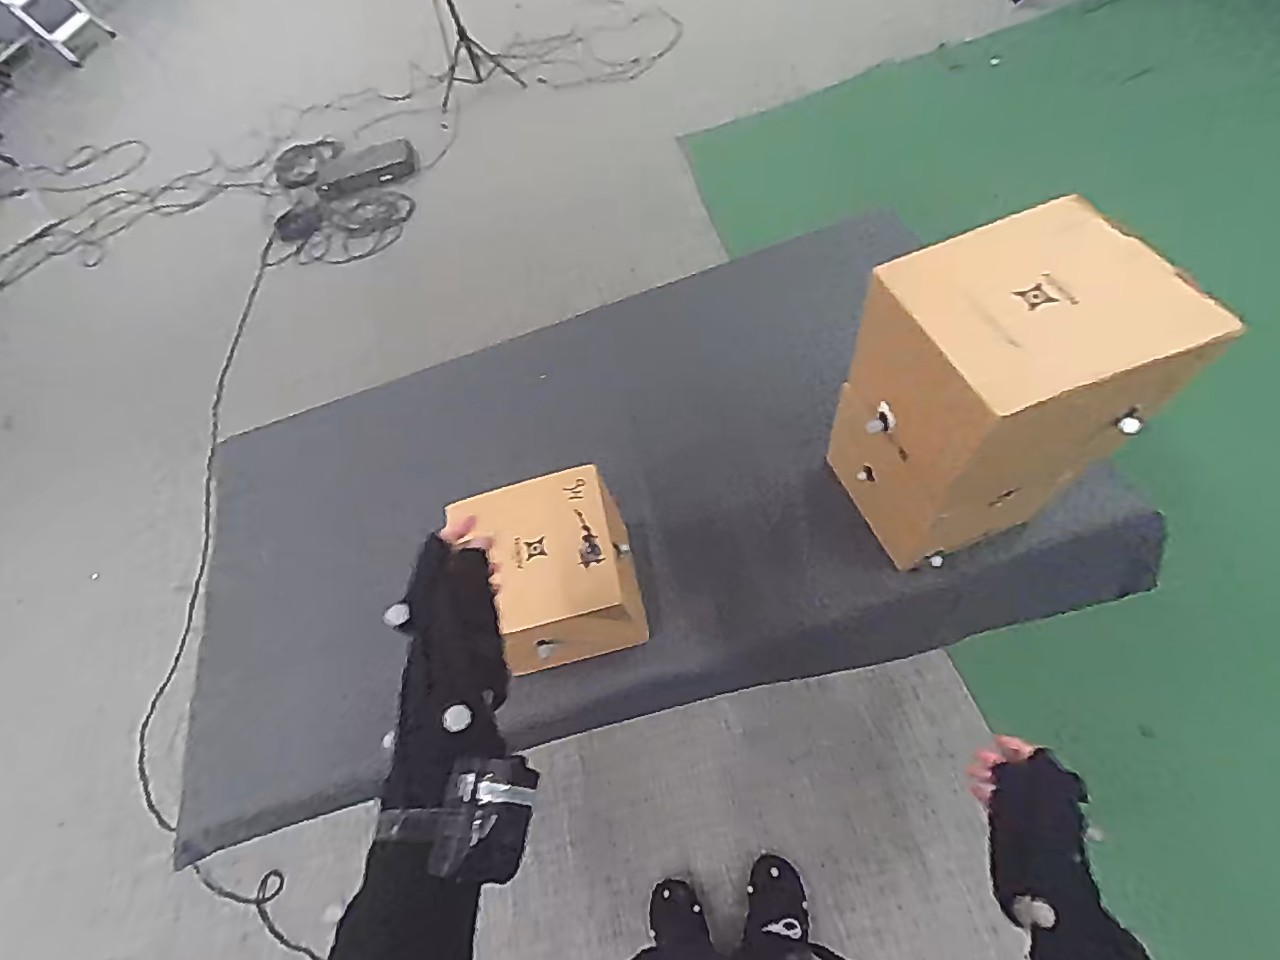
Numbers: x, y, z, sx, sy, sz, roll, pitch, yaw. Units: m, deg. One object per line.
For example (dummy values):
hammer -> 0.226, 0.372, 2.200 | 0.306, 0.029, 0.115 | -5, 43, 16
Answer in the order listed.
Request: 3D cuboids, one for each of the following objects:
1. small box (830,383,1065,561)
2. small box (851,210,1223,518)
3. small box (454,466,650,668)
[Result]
small box -> 0.339, -0.024, 0.622 | 0.168, 0.176, 0.179 | -22, 59, 0
small box -> 0.311, -0.091, 0.478 | 0.179, 0.176, 0.168 | -21, 58, 2
small box -> -0.099, 0.112, 0.641 | 0.179, 0.176, 0.168 | -15, 59, 3
